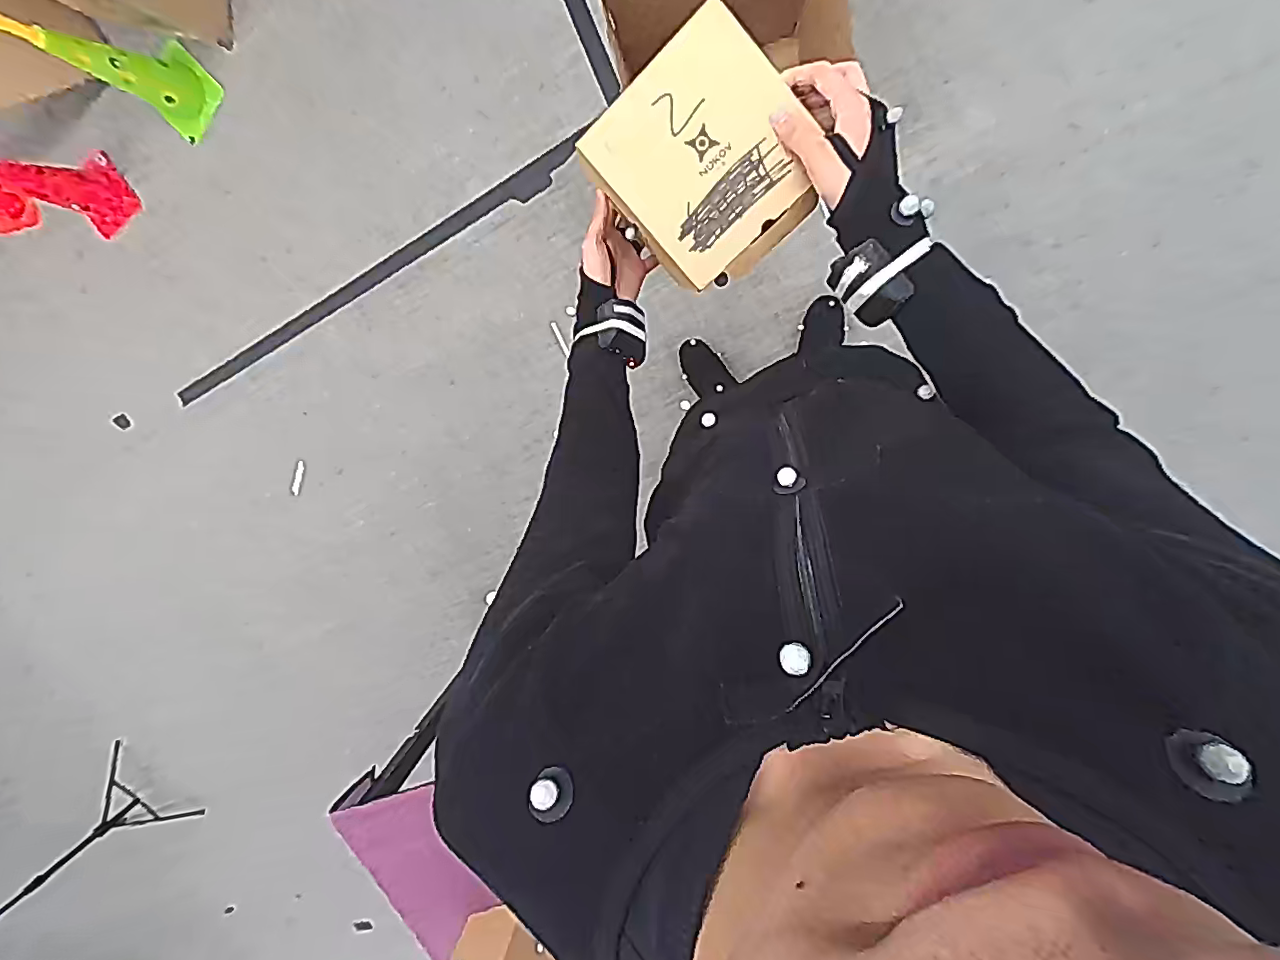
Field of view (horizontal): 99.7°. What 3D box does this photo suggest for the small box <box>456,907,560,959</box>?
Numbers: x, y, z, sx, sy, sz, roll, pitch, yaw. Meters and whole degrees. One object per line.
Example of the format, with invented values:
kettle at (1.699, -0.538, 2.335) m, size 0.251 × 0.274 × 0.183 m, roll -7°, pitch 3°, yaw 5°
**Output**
small box at (-0.308, 1.117, 1.216) m, size 0.179 × 0.176 × 0.168 m, roll -29°, pitch 100°, yaw 16°
